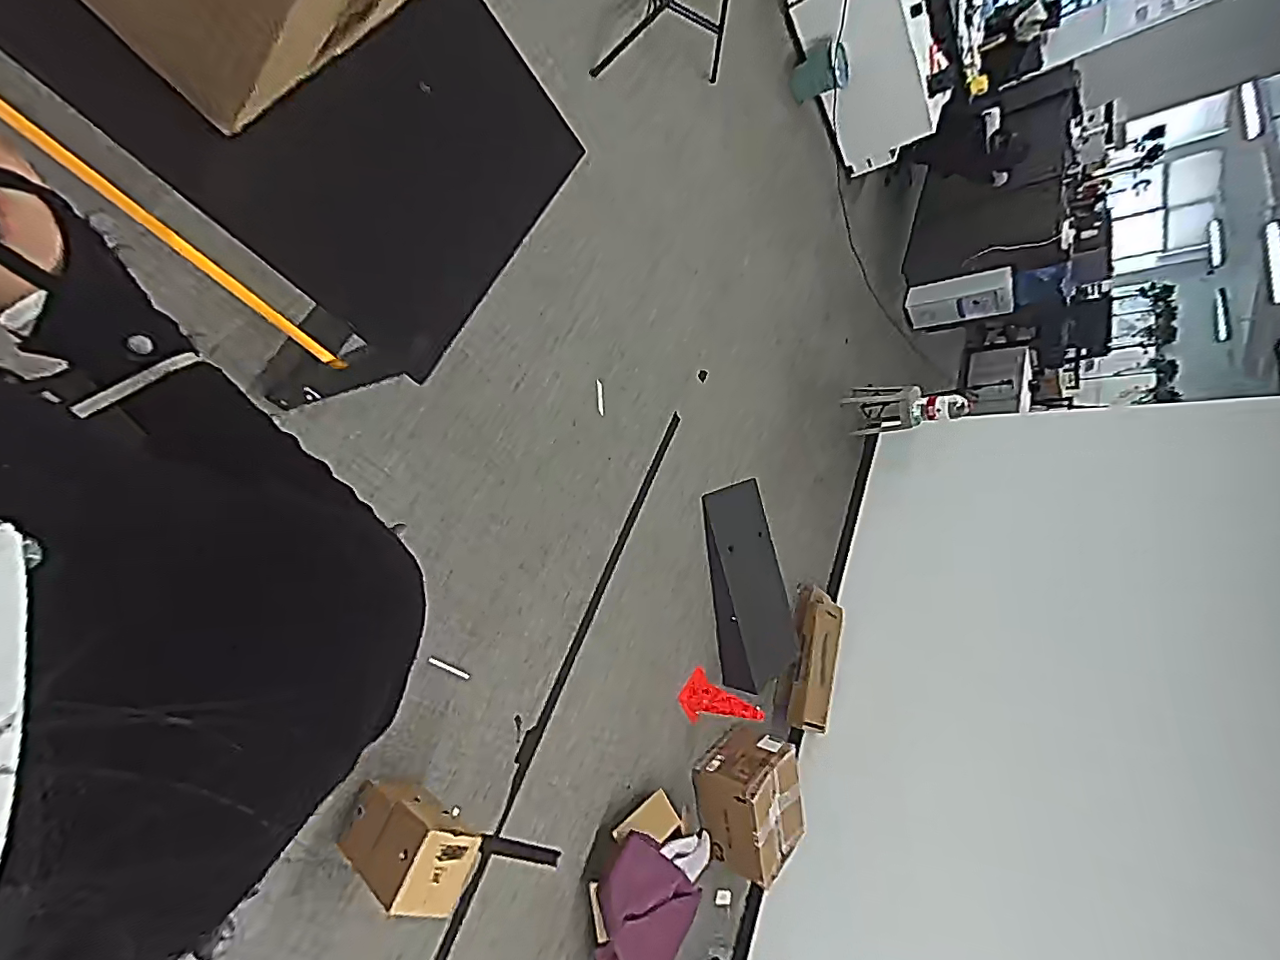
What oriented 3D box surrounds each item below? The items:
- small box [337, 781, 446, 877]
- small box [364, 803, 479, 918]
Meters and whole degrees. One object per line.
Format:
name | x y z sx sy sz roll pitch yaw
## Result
small box | -0.660 0.922 1.434 0.179 0.176 0.168 39 62 -39
small box | -0.538 0.924 1.323 0.168 0.176 0.179 44 60 -38
